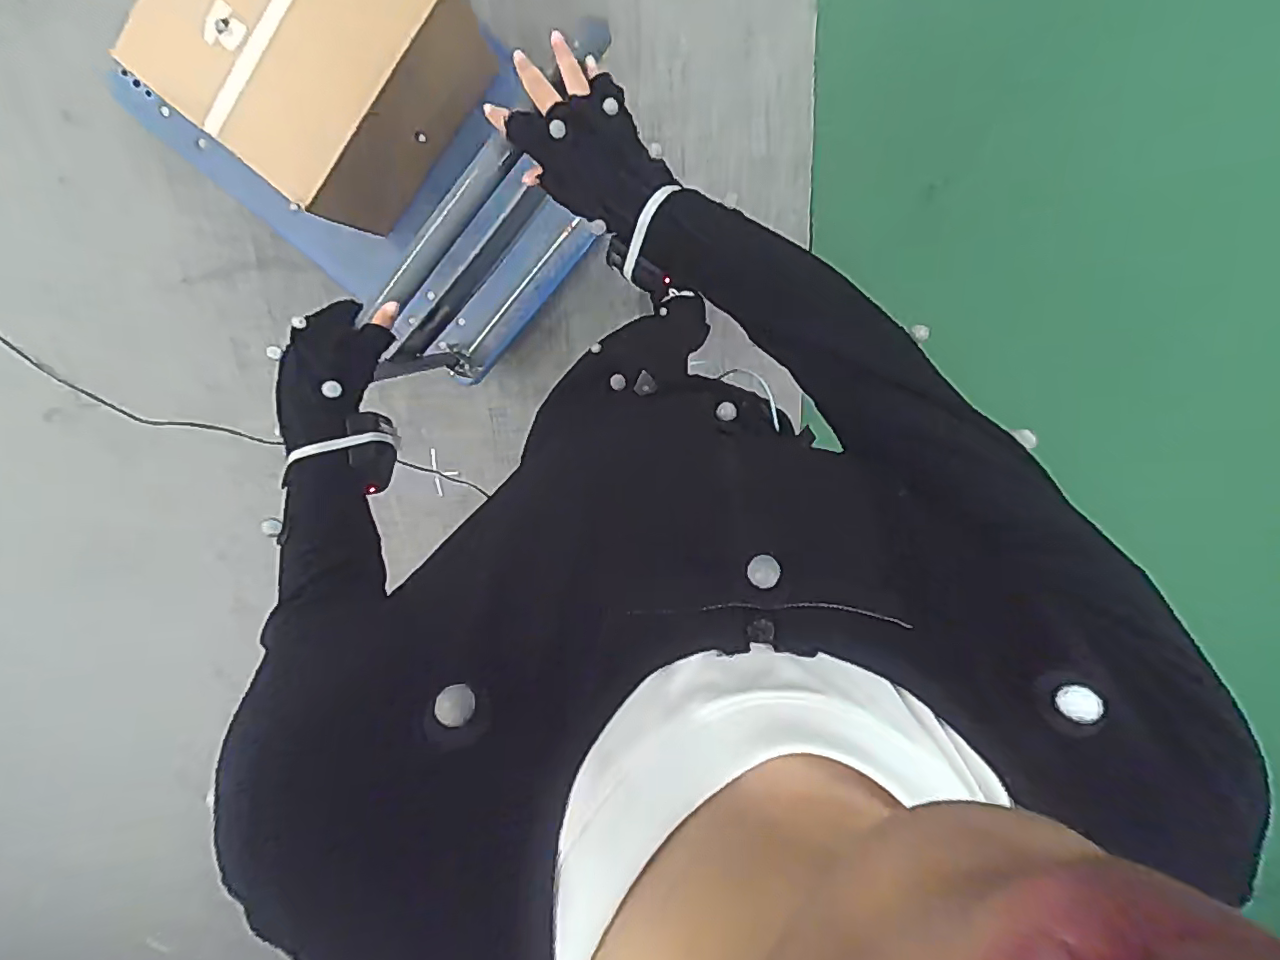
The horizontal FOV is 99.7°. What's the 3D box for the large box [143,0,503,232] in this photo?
[{"bbox_3d":[-0.499,-0.712,0.929,0.320,0.320,0.408,39,103,-11],"label":"large box"}]
